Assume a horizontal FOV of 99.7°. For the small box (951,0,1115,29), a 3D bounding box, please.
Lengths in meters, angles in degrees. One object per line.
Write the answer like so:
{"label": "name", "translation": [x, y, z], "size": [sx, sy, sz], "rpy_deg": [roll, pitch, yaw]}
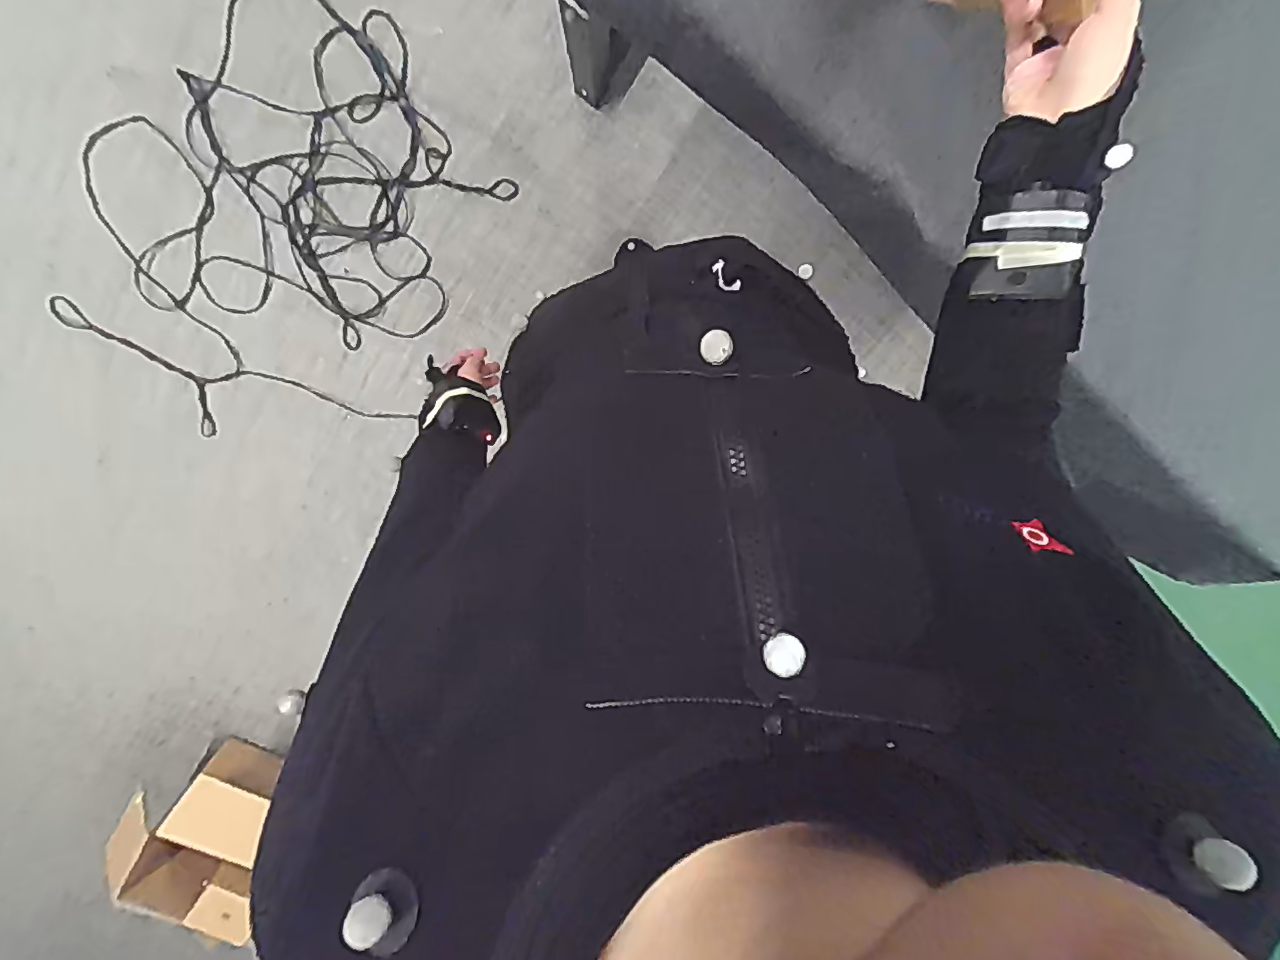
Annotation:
{"label": "small box", "translation": [0.262, -0.422, 0.314], "size": [0.168, 0.176, 0.179], "rpy_deg": [-40, 131, 20]}

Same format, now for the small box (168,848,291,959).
{"label": "small box", "translation": [-1.076, 1.136, 1.435], "size": [0.168, 0.176, 0.179], "rpy_deg": [36, 101, -14]}
